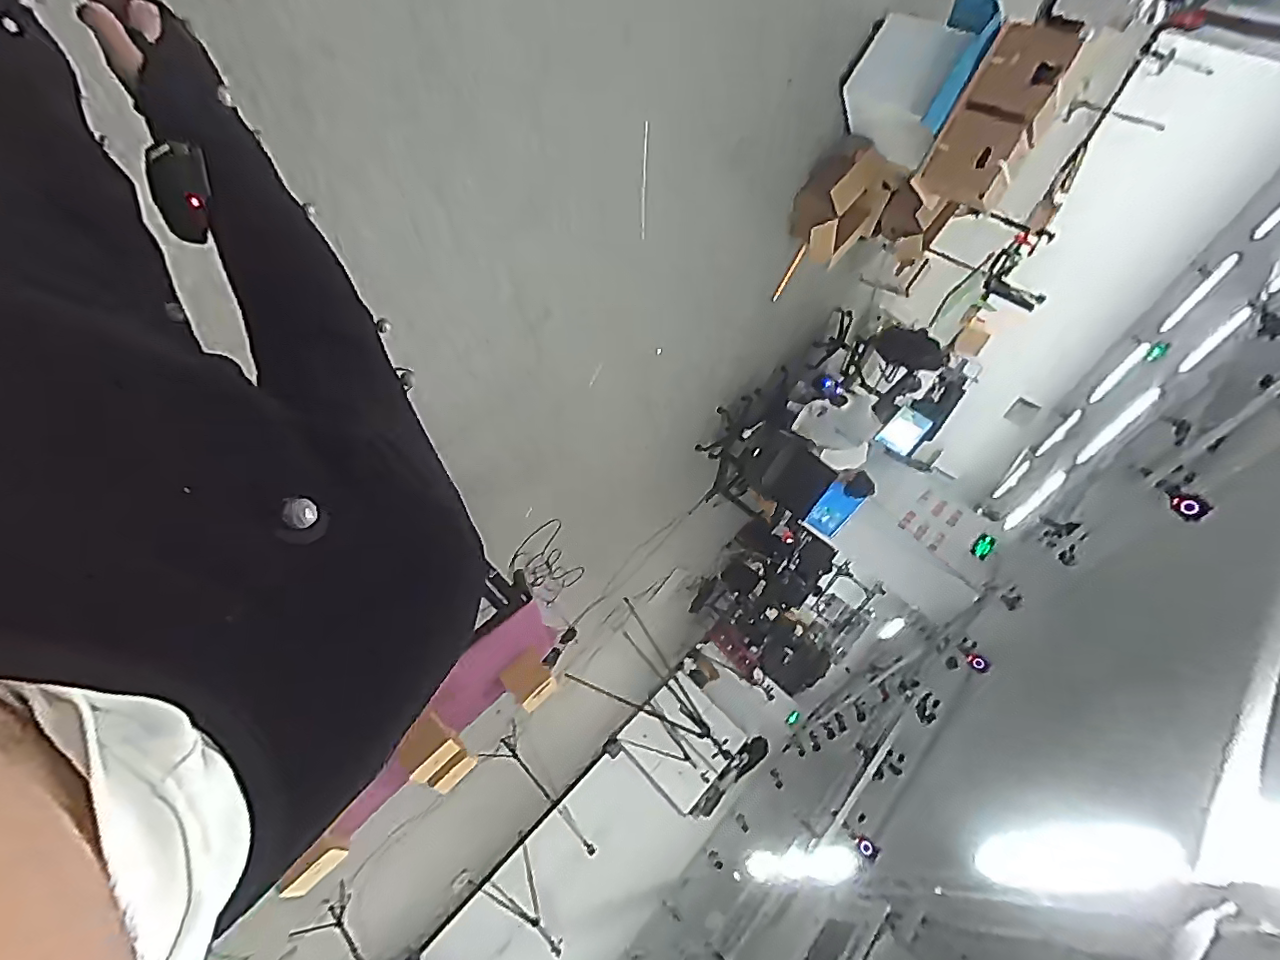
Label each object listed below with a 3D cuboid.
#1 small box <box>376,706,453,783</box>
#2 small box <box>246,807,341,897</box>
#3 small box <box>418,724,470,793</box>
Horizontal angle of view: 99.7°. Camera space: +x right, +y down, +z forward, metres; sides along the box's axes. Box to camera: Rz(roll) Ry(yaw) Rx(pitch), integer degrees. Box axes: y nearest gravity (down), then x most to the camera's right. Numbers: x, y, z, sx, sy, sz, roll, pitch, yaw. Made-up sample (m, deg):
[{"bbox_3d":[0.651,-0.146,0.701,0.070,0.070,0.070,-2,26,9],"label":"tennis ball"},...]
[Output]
[{"bbox_3d":[-0.789,0.925,1.898,0.168,0.176,0.179,-39,156,-28],"label":"small box"},{"bbox_3d":[-1.084,1.165,1.699,0.168,0.176,0.179,-39,158,-30],"label":"small box"},{"bbox_3d":[-0.807,1.099,2.139,0.168,0.176,0.179,-39,154,-25],"label":"small box"}]
